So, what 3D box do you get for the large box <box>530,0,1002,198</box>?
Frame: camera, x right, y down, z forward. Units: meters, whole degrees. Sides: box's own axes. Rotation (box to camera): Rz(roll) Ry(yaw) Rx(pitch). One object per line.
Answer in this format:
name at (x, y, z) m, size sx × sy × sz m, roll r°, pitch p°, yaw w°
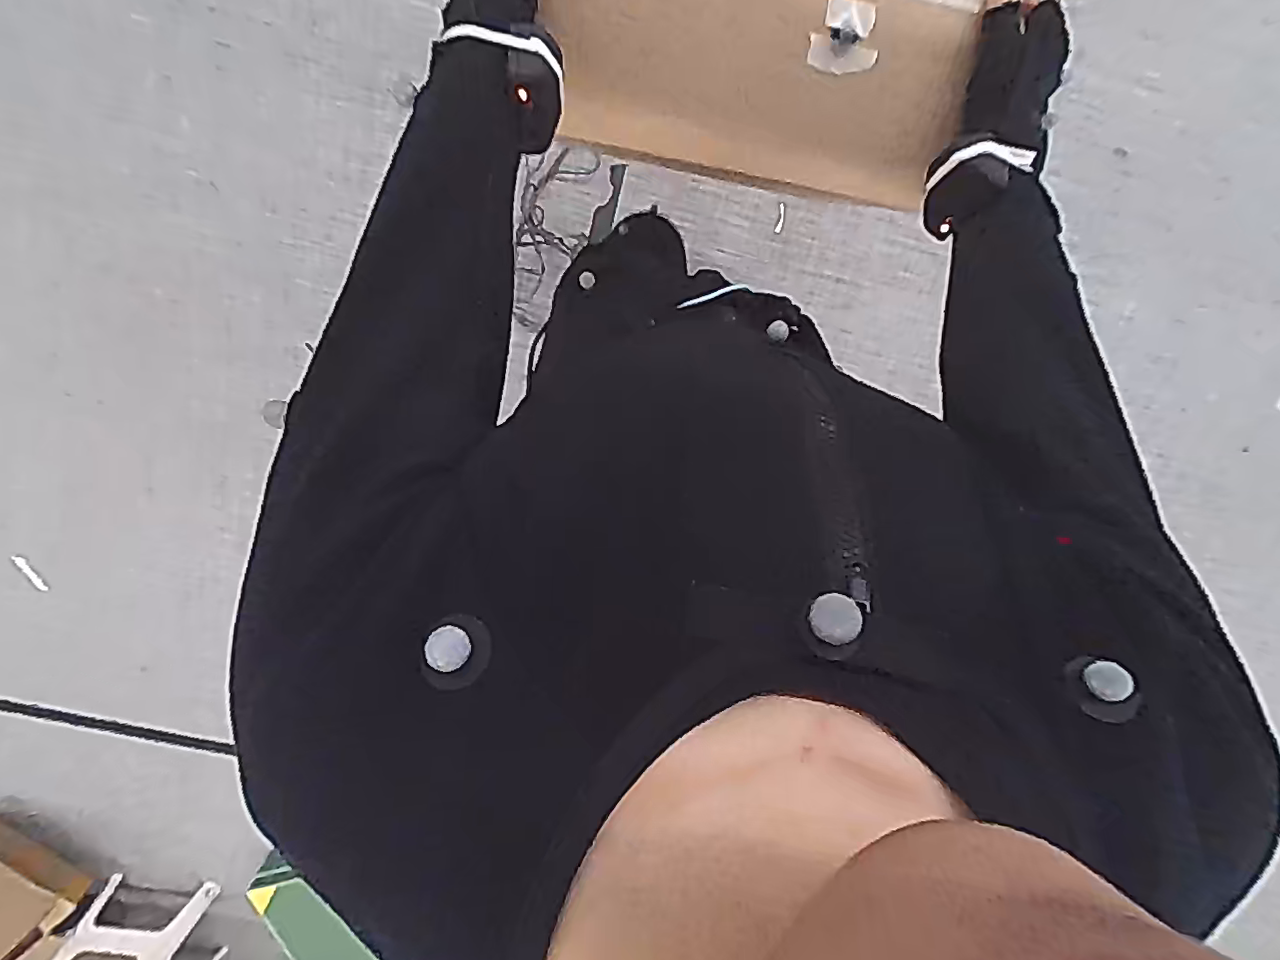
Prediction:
large box at (0.111, -0.508, 0.575) m, size 0.408 × 0.320 × 0.320 m, roll 8°, pitch 120°, yaw -6°
